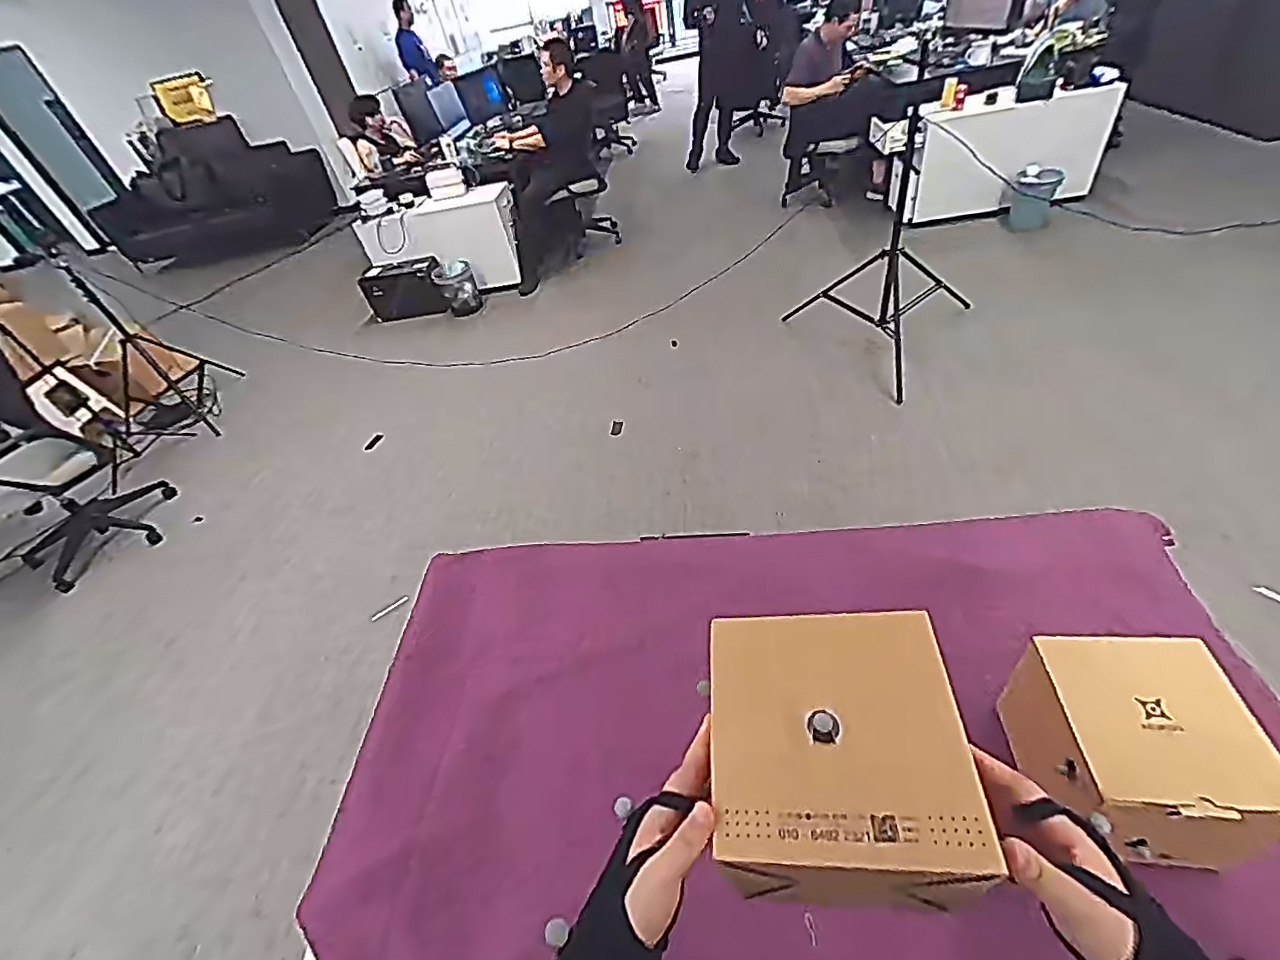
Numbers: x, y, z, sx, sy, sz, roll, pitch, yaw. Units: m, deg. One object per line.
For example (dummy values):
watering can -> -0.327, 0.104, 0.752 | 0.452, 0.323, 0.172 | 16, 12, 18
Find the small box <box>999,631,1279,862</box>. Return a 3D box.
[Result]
small box -> 0.531, 0.289, 0.598 | 0.168, 0.176, 0.179 | -3, 42, 12

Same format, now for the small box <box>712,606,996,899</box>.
small box -> 0.152, 0.220, 0.430 | 0.168, 0.179, 0.176 | -5, 47, 13
